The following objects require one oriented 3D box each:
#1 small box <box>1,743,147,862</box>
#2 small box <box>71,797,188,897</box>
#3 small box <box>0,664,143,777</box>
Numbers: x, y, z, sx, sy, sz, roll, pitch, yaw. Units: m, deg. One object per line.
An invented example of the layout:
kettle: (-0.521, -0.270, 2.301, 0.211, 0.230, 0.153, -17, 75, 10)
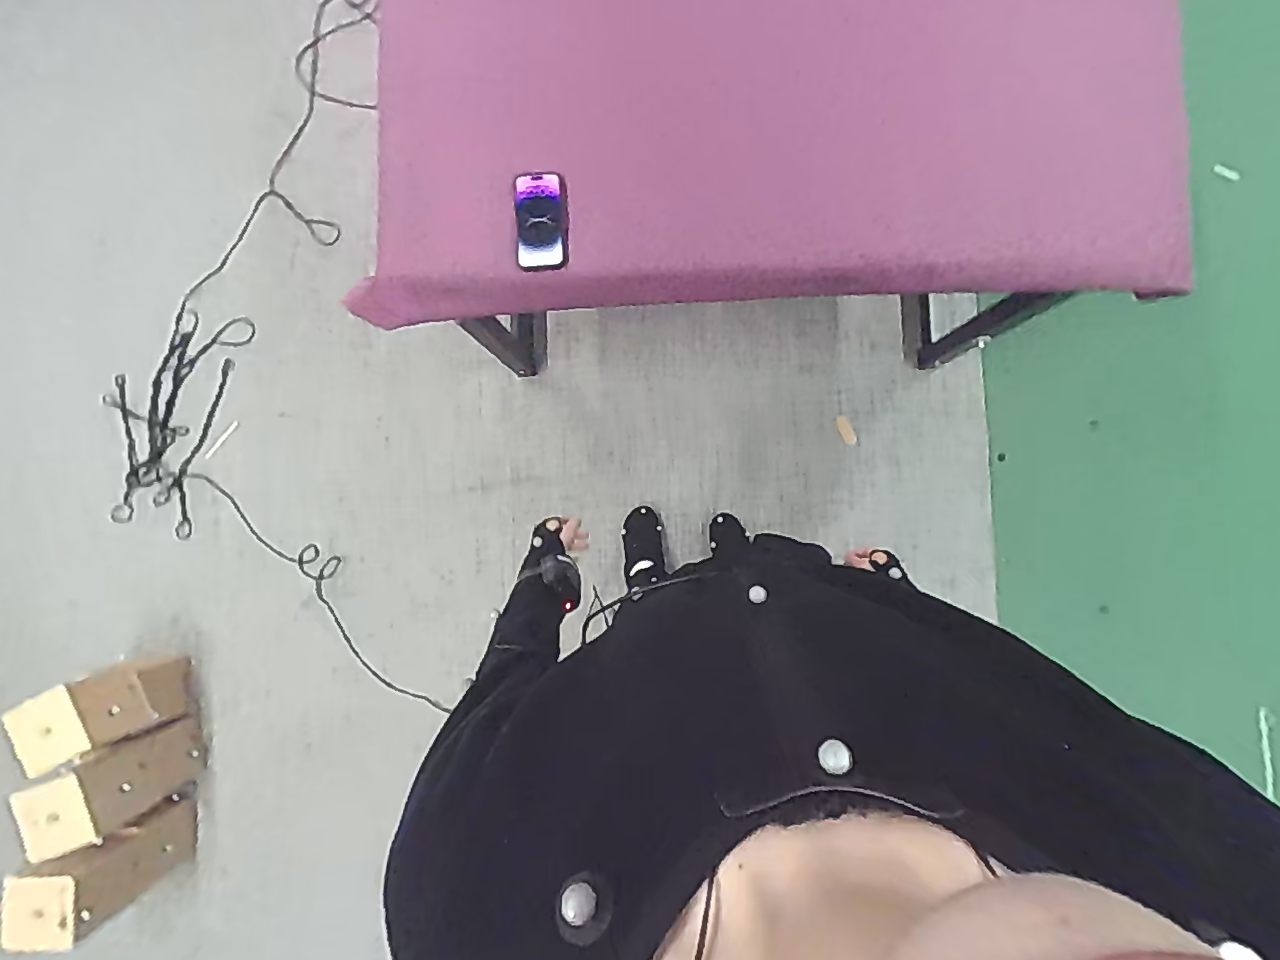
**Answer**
small box: (-1.359, 0.773, 1.316, 0.179, 0.176, 0.168, -20, 87, 3)
small box: (-1.379, 0.988, 1.471, 0.168, 0.176, 0.179, -2, 88, 3)
small box: (-1.380, 0.577, 1.323, 0.179, 0.176, 0.168, -27, 86, 2)
